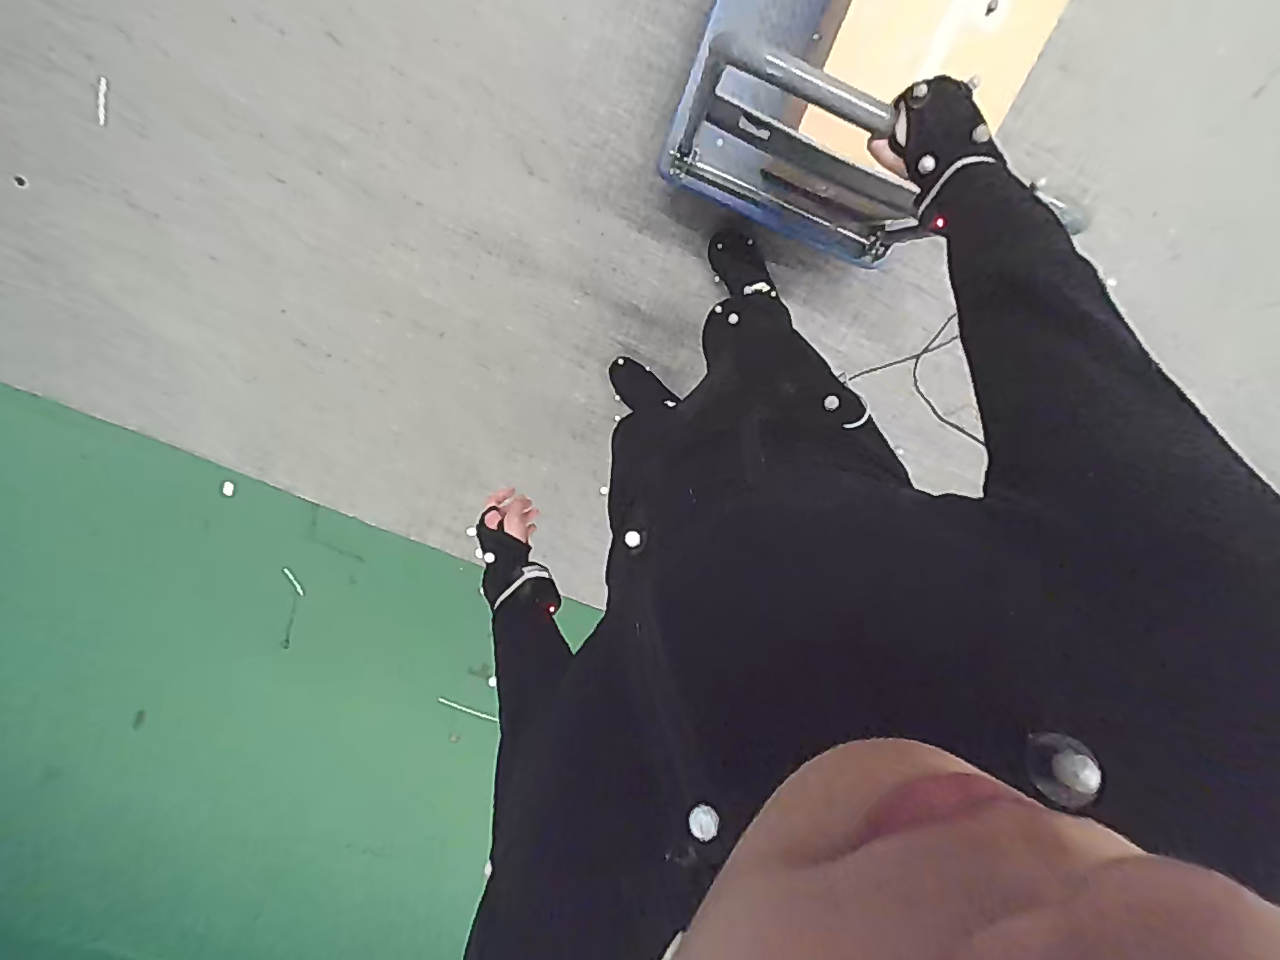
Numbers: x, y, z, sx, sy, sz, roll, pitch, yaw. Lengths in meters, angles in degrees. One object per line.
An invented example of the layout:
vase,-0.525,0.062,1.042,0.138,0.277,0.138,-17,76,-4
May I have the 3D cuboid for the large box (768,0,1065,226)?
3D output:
large box,0.482,-0.743,1.011,0.320,0.320,0.408,20,111,-7
